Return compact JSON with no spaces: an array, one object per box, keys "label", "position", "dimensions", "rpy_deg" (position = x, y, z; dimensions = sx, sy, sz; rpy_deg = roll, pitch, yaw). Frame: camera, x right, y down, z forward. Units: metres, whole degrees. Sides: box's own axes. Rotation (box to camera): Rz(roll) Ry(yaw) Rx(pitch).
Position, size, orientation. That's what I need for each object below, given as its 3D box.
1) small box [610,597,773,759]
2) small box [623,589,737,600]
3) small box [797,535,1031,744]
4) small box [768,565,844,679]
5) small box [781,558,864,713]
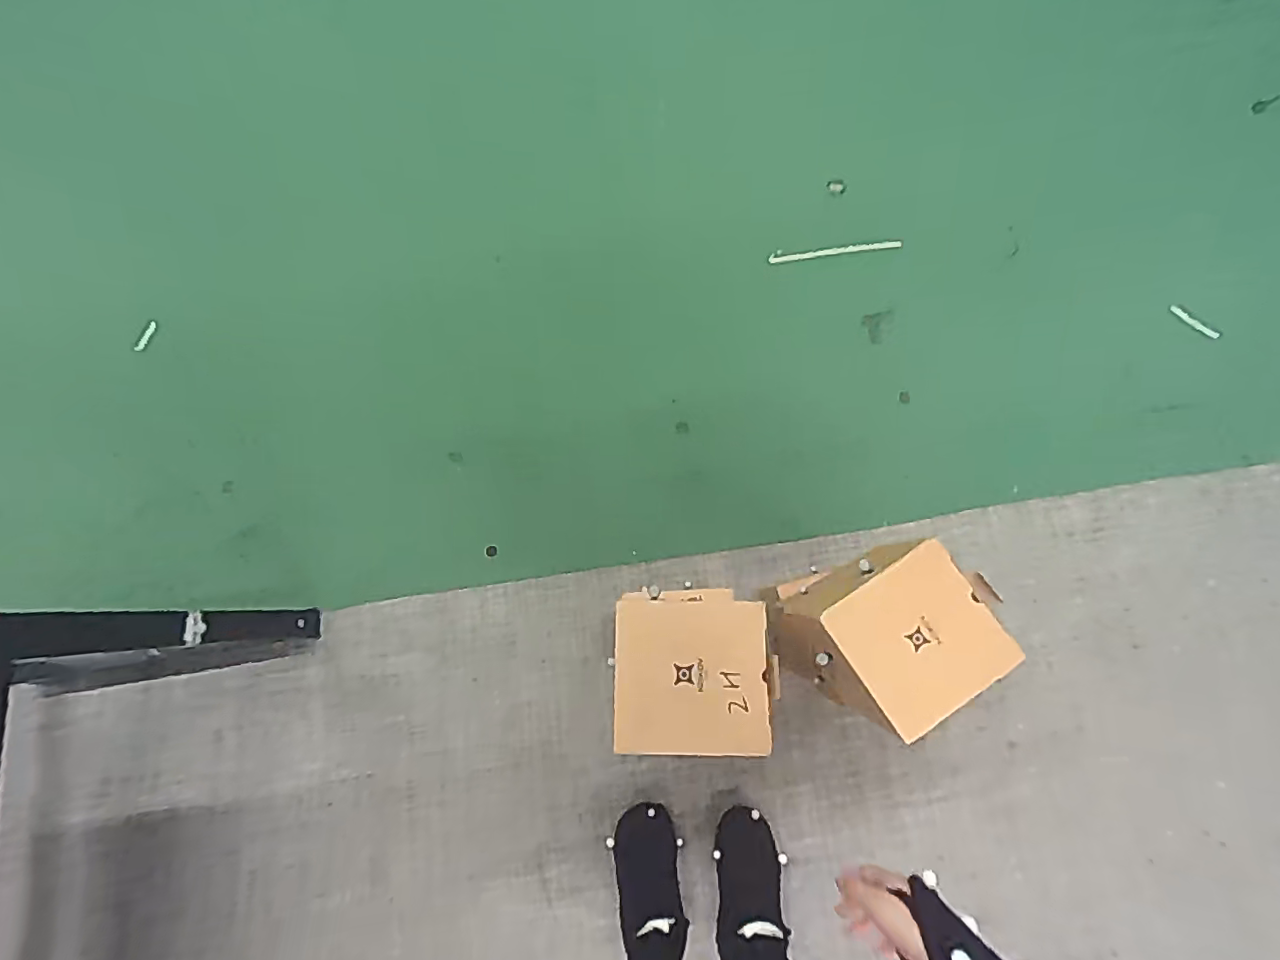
[{"label":"small box","position":[0.060,0.233,0.670],"dimensions":[0.179,0.176,0.168],"rpy_deg":[0,77,2]},{"label":"small box","position":[0.062,0.260,0.834],"dimensions":[0.168,0.176,0.179],"rpy_deg":[-2,77,1]},{"label":"small box","position":[0.319,0.191,0.679],"dimensions":[0.179,0.176,0.168],"rpy_deg":[-33,80,-7]},{"label":"small box","position":[0.348,0.254,0.998],"dimensions":[0.179,0.176,0.168],"rpy_deg":[-16,78,-3]},{"label":"small box","position":[0.339,0.229,0.838],"dimensions":[0.179,0.176,0.168],"rpy_deg":[-28,80,-6]}]
